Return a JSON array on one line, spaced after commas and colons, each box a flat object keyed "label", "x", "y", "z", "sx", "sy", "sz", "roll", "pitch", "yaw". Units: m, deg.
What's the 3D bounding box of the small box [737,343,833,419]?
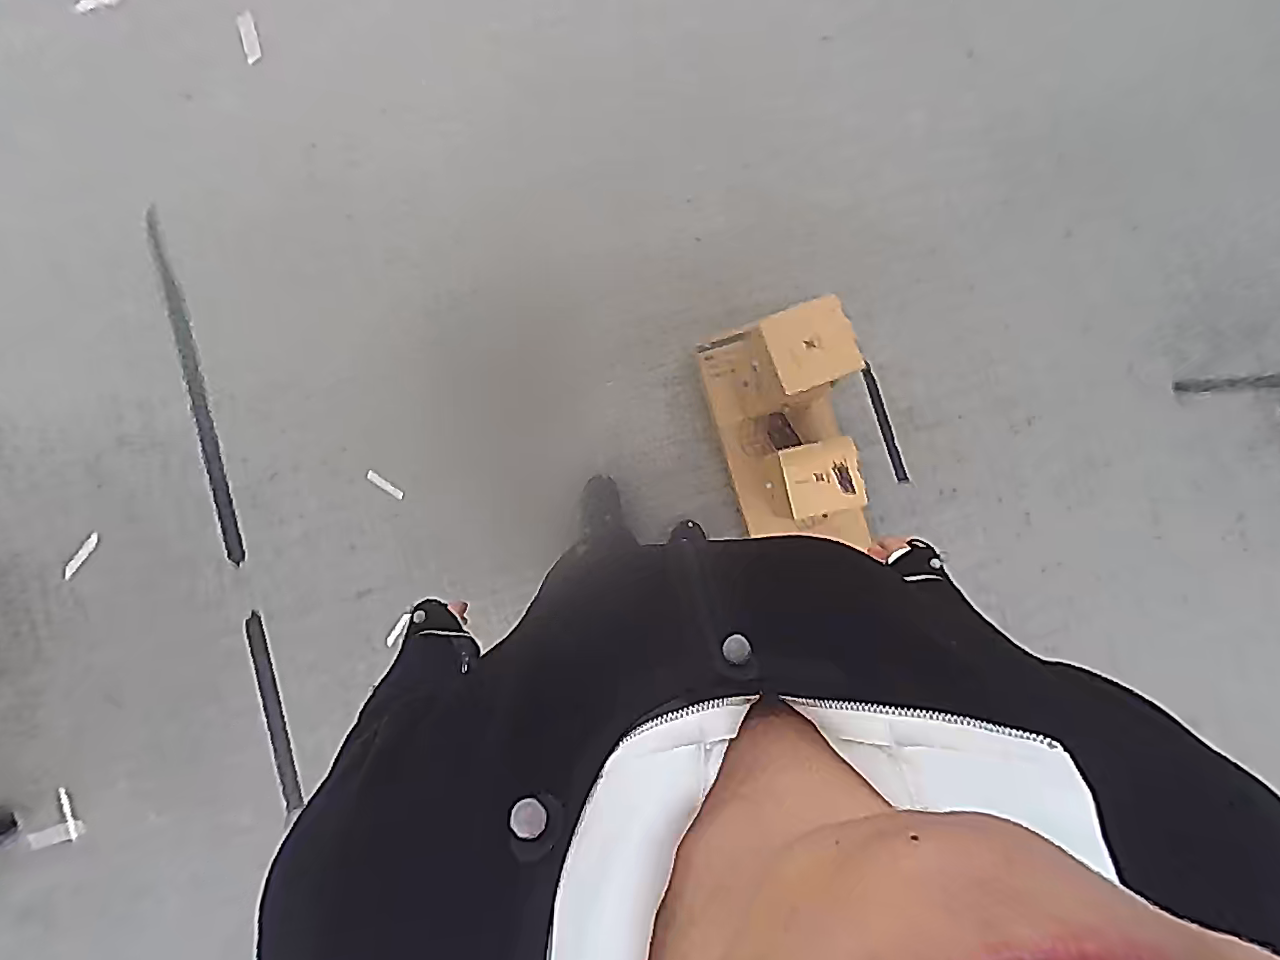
[{"label": "small box", "x": 0.346, "y": -0.257, "z": 1.335, "sx": 0.179, "sy": 0.176, "sz": 0.168, "roll": -14, "pitch": 89, "yaw": 0}]

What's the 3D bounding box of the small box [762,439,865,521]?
[{"label": "small box", "x": 0.418, "y": 0.002, "z": 1.327, "sx": 0.179, "sy": 0.176, "sz": 0.168, "roll": -12, "pitch": 87, "yaw": -1}]

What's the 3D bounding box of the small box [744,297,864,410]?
[{"label": "small box", "x": 0.346, "y": -0.266, "z": 1.172, "sx": 0.179, "sy": 0.176, "sz": 0.168, "roll": -21, "pitch": 88, "yaw": -1}]
